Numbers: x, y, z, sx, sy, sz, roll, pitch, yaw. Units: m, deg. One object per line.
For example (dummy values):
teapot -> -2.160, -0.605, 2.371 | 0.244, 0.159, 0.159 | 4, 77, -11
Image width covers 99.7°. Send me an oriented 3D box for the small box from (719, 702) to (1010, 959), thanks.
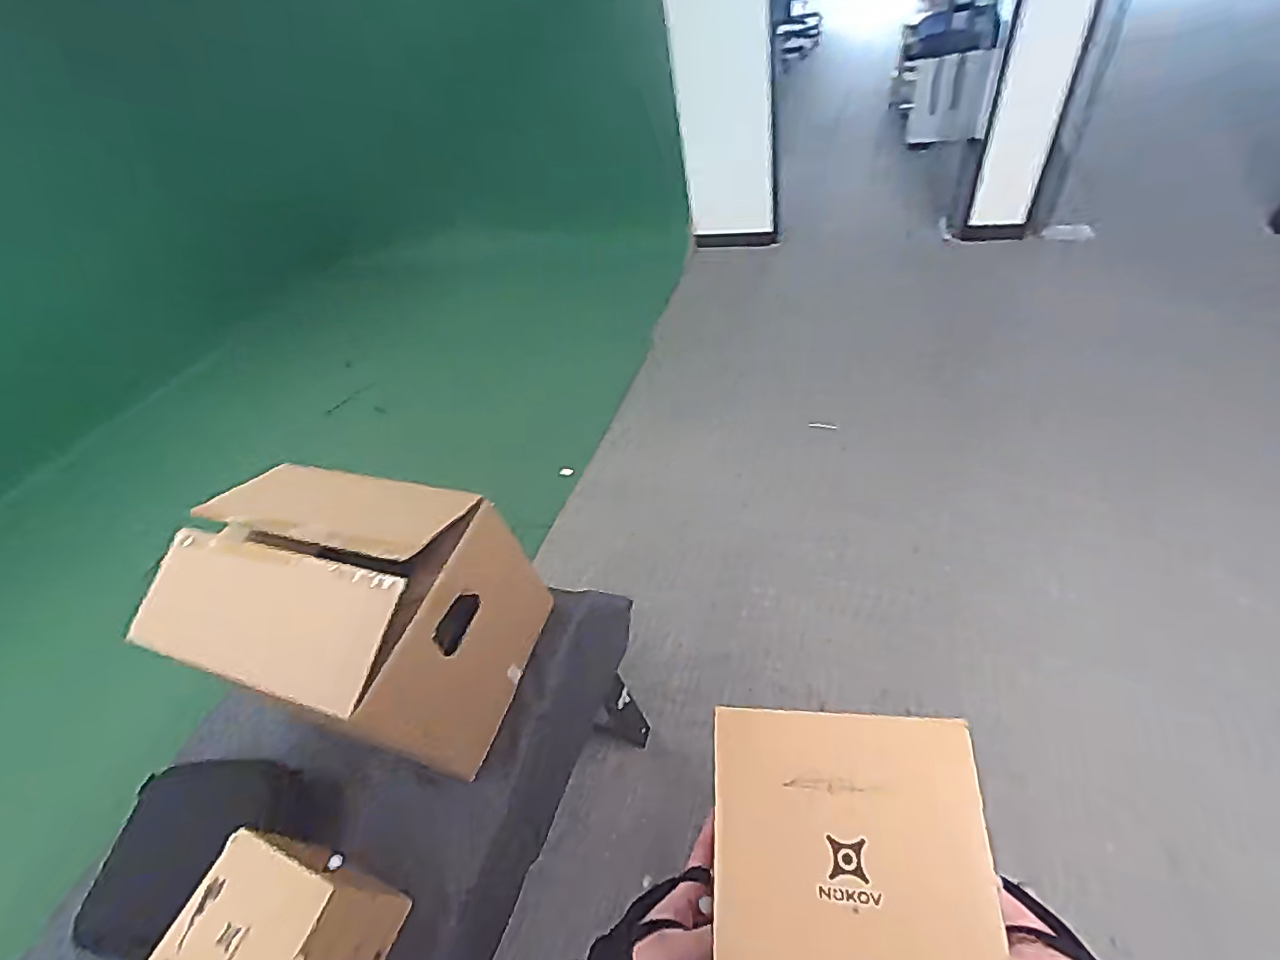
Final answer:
small box -> 0.148, 0.273, 0.409 | 0.168, 0.176, 0.179 | -1, 63, 11
